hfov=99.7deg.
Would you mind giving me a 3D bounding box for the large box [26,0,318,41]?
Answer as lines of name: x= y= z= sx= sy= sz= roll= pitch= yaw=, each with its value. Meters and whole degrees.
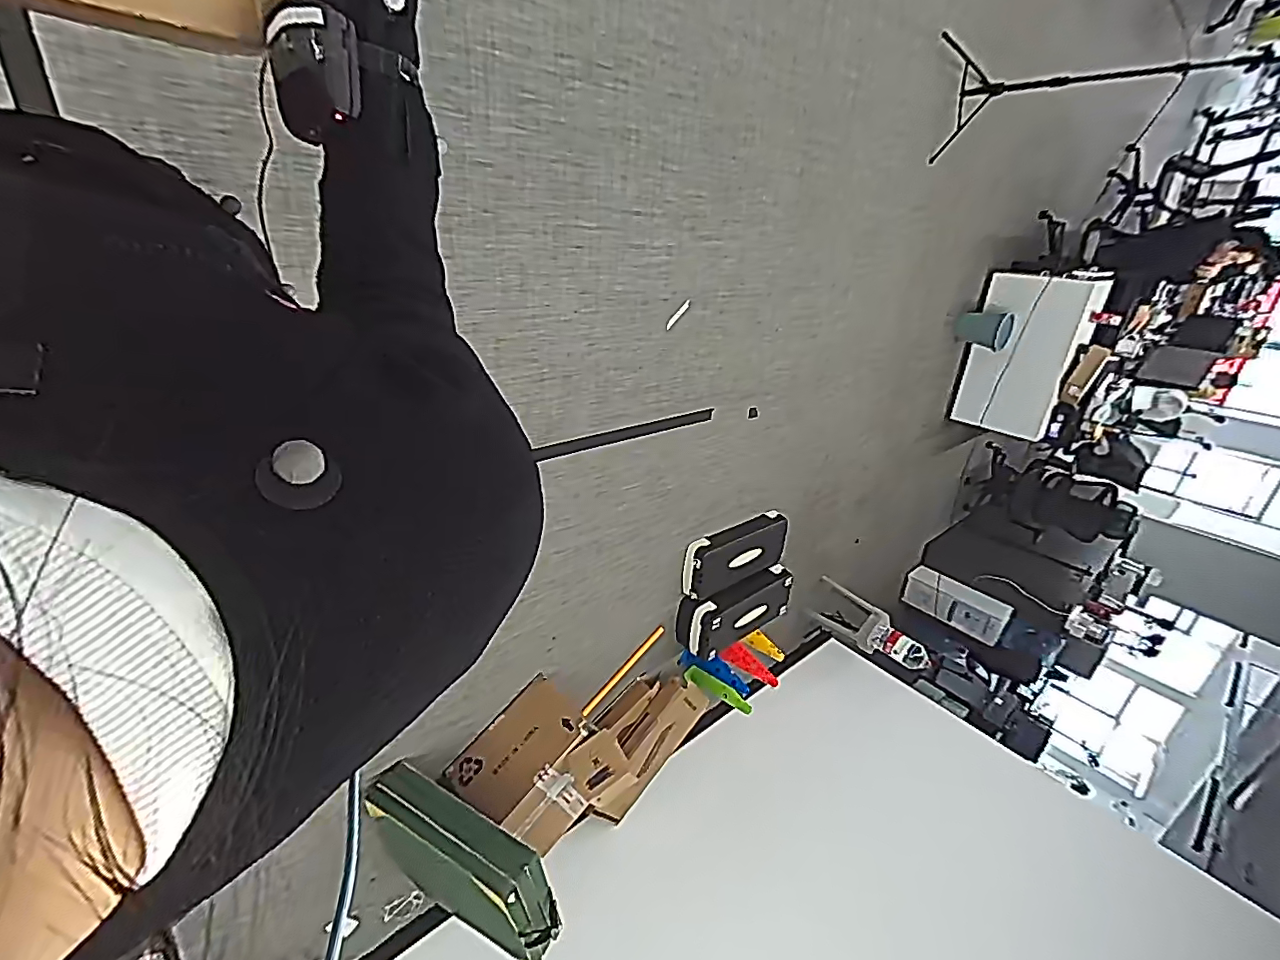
large box: x=-0.443 y=-0.454 z=0.259 sx=0.408 sy=0.320 sz=0.320 roll=-18 pitch=132 yaw=-40
